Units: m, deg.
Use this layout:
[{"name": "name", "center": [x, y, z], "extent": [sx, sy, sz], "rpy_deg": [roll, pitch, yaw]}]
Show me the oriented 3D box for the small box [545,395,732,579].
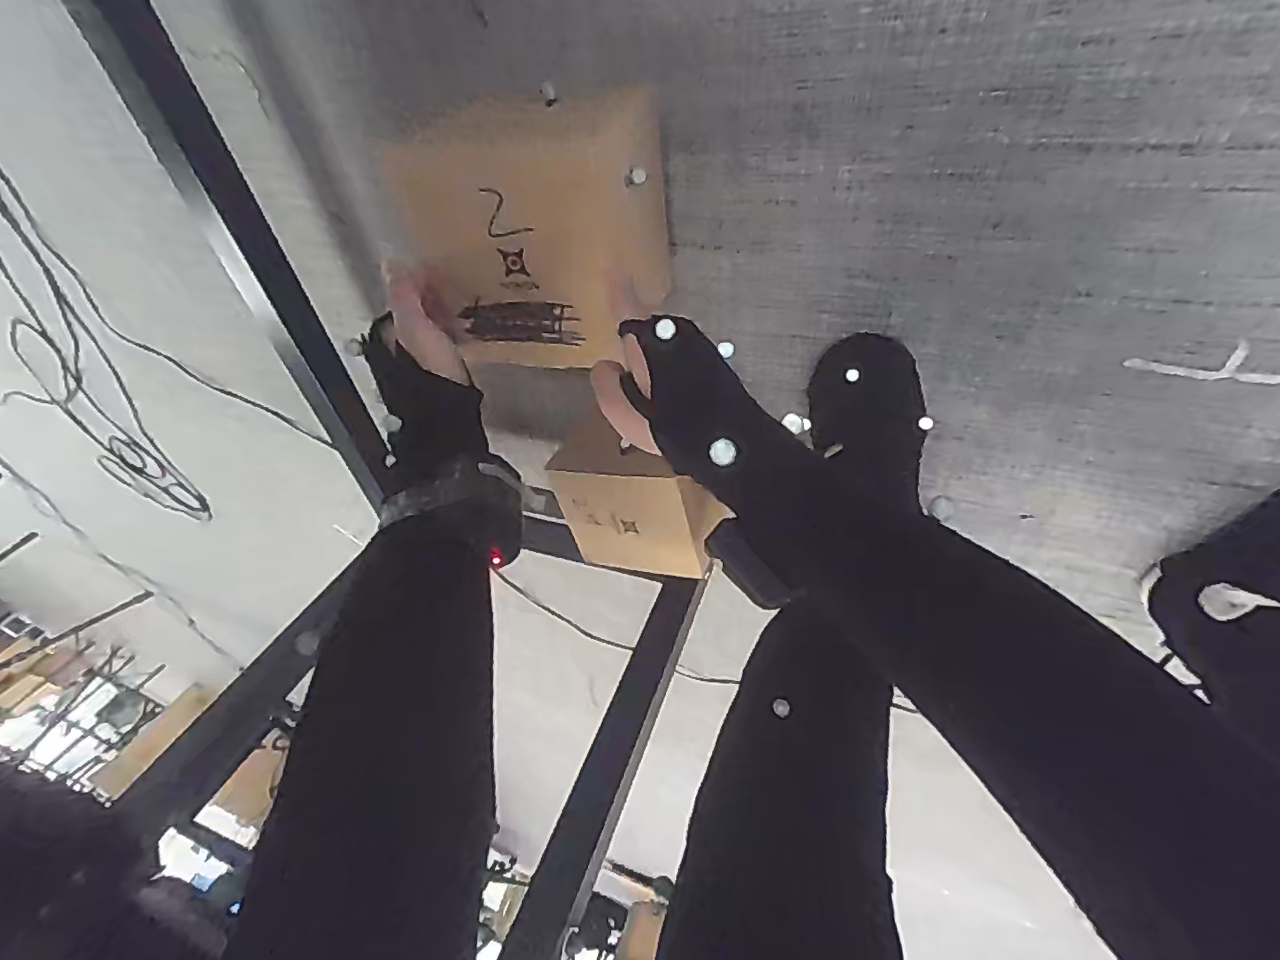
[{"name": "small box", "center": [0.013, 0.002, 0.696], "extent": [0.179, 0.176, 0.168], "rpy_deg": [4, 131, 26]}]
